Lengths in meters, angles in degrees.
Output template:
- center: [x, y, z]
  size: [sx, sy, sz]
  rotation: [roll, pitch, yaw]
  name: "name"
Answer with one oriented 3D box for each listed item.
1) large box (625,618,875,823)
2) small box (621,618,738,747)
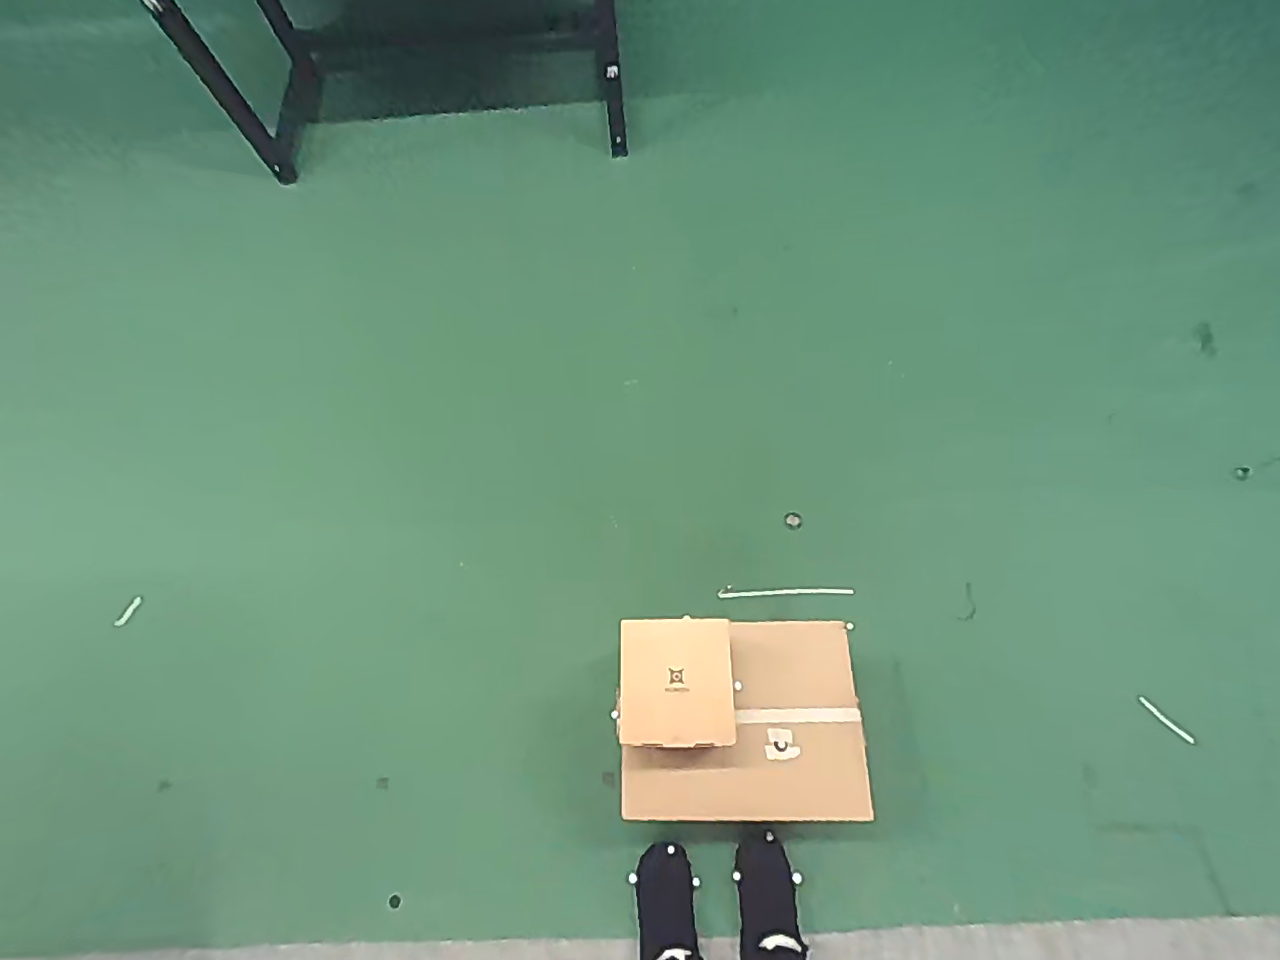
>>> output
- center: [0.177, 0.452, 1.050]
  size: [0.408, 0.320, 0.320]
  rotation: [-2, 69, 2]
  name: "large box"
- center: [0.057, 0.318, 0.848]
  size: [0.168, 0.176, 0.179]
  rotation: [-1, 68, 2]
  name: "small box"
